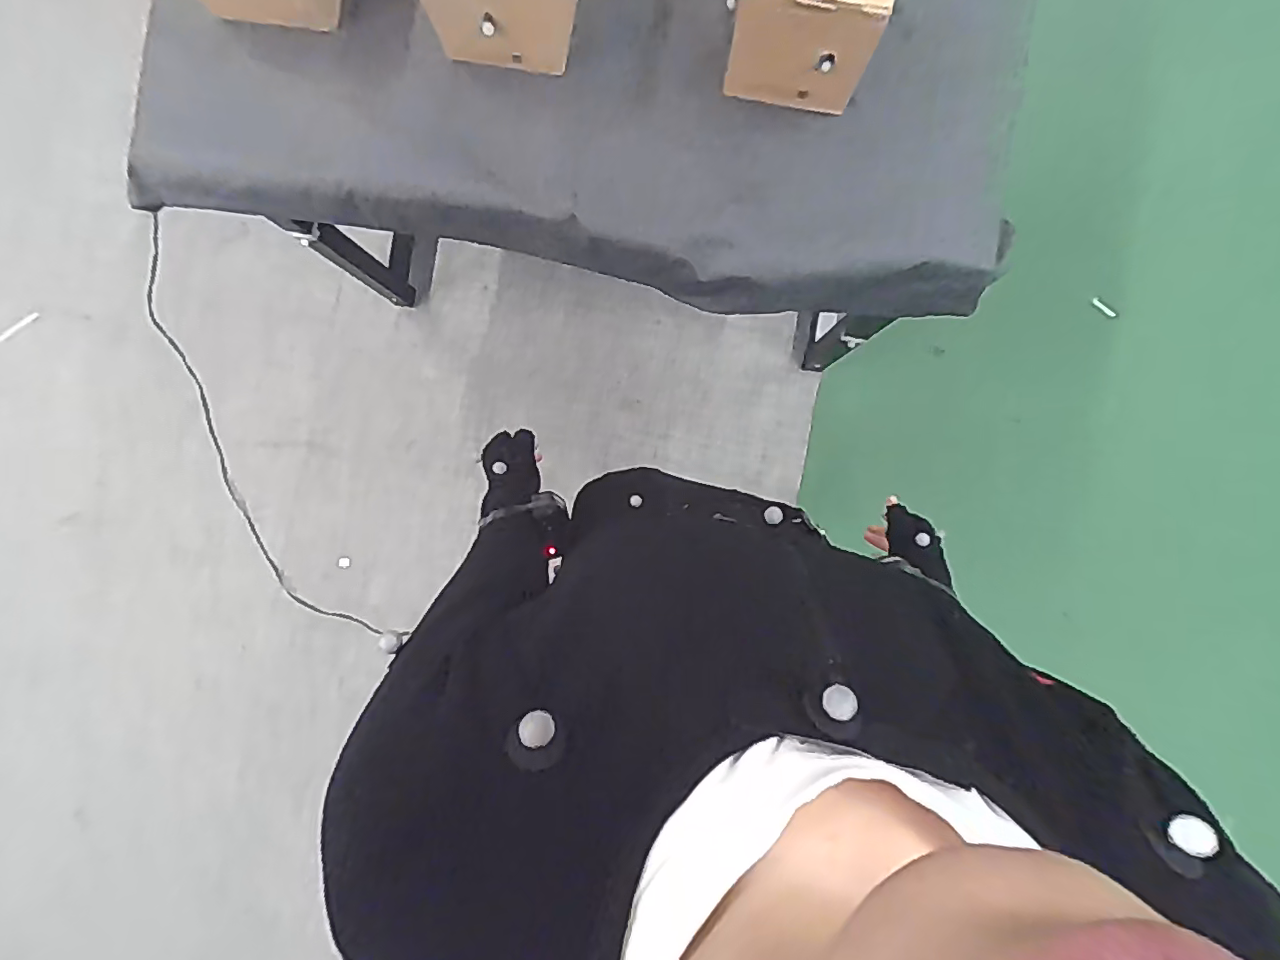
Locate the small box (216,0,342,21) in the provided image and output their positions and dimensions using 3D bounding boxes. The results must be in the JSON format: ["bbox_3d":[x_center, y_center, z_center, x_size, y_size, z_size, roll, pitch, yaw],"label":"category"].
[{"bbox_3d":[-0.494,-0.724,0.672,0.179,0.176,0.168,8,90,0],"label":"small box"}]

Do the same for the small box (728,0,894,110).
[{"bbox_3d":[0.209,-0.597,0.657,0.168,0.176,0.179,12,89,1],"label":"small box"}]

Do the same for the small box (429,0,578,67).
[{"bbox_3d":[-0.169,-0.659,0.665,0.168,0.176,0.179,10,91,1],"label":"small box"}]
